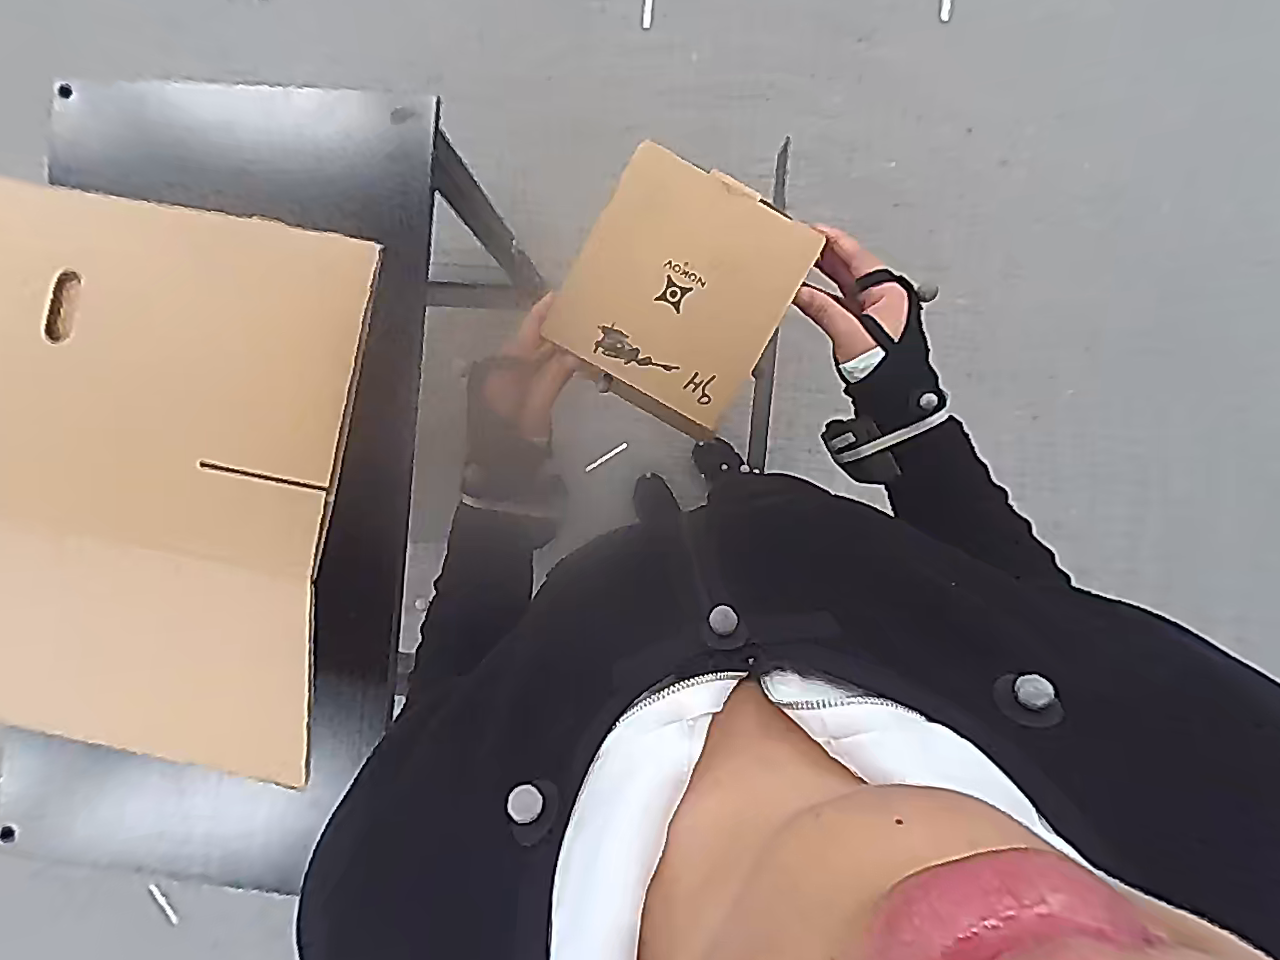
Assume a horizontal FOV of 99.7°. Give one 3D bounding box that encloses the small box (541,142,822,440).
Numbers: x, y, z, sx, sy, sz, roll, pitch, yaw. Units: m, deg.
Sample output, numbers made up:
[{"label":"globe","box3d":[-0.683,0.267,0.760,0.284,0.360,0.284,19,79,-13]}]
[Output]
[{"label":"small box","box3d":[0.035,-0.154,0.503,0.168,0.176,0.179,29,92,4]}]
